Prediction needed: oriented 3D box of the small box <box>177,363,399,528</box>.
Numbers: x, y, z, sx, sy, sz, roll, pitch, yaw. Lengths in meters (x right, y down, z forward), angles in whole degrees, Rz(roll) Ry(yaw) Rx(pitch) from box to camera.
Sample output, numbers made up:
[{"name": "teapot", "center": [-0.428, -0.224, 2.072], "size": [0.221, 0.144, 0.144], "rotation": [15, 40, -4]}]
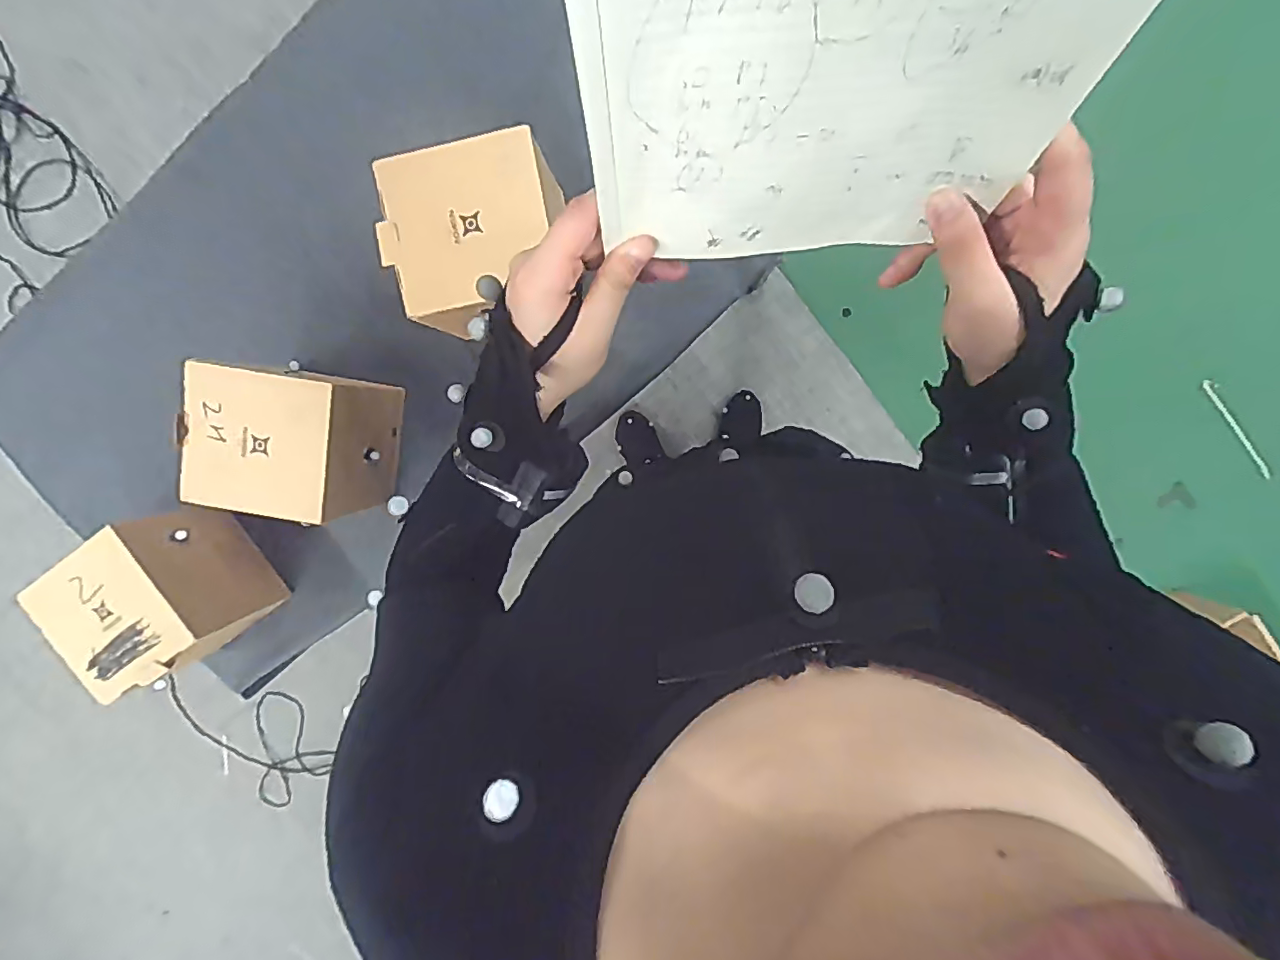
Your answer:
[{"name": "small box", "center": [-0.433, -0.049, 0.690], "size": [0.179, 0.176, 0.168], "rotation": [10, 98, 2]}]

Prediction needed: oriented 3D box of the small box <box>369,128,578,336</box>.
[{"name": "small box", "center": [-0.178, -0.276, 0.643], "size": [0.179, 0.176, 0.168], "rotation": [-10, 97, 6]}]
